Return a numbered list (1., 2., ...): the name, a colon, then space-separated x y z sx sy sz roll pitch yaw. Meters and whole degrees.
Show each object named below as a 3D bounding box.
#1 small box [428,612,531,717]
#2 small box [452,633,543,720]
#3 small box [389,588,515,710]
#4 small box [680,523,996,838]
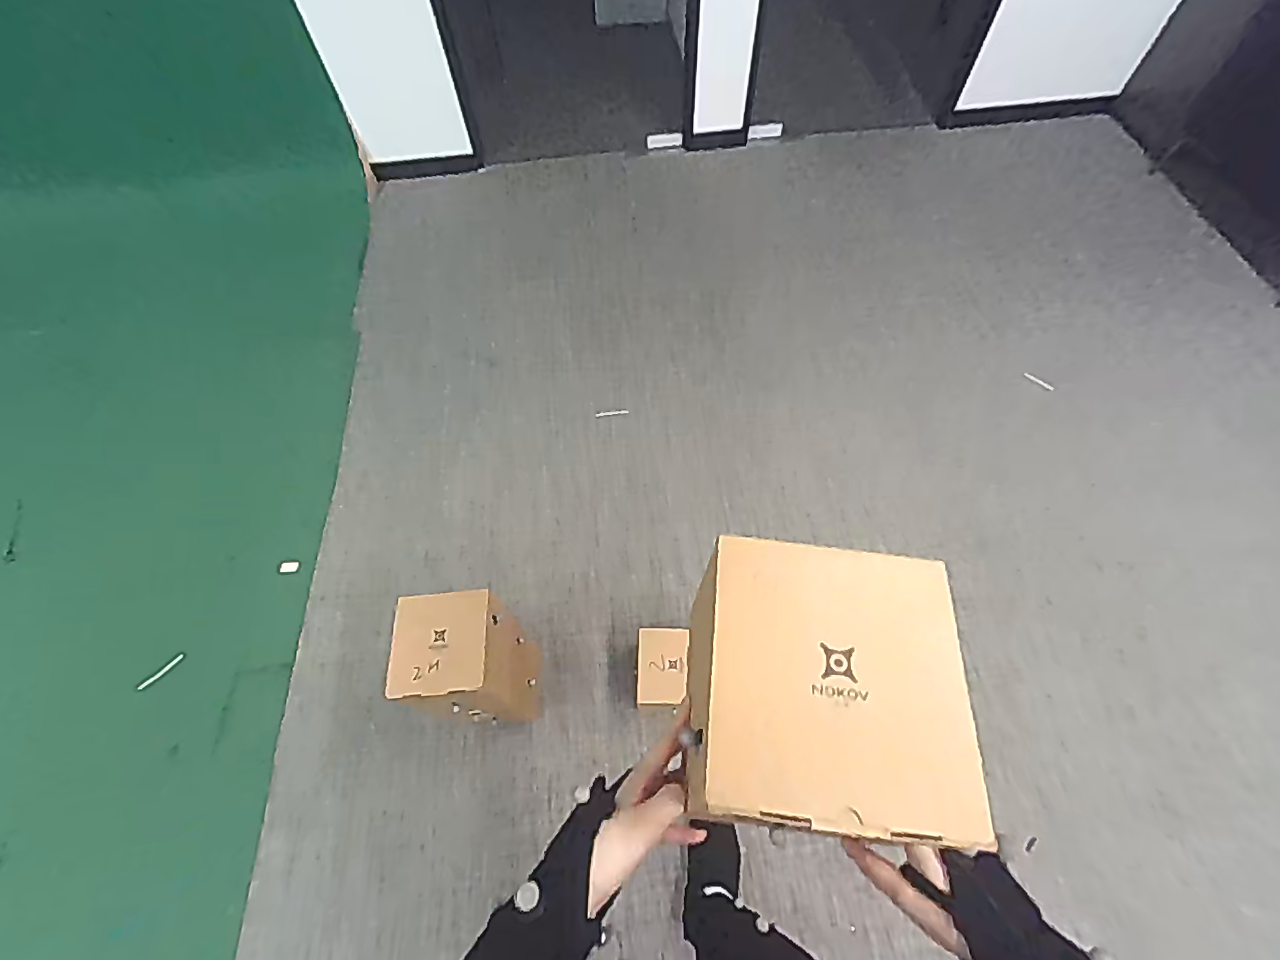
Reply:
1. small box: -0.331 0.394 1.145 0.168 0.176 0.179 -6 62 0
2. small box: -0.329 0.473 1.287 0.168 0.176 0.179 -2 61 1
3. small box: -0.335 0.316 1.000 0.168 0.176 0.179 -6 60 1
4. small box: 0.124 0.155 0.412 0.168 0.176 0.179 7 59 2
